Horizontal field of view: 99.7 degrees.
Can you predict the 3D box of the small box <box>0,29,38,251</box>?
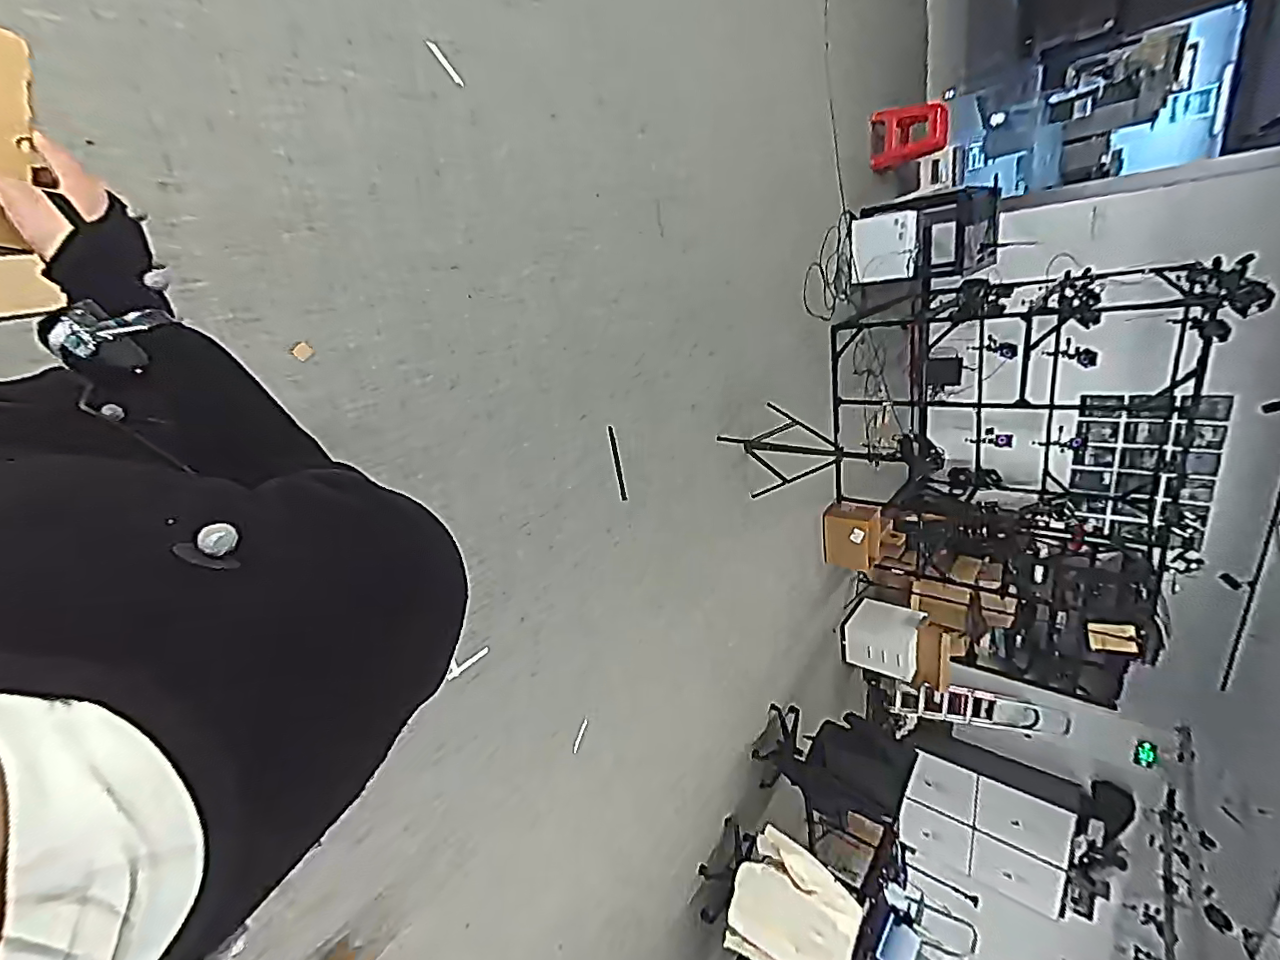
[{"bbox_3d":[-0.606,-0.278,0.404,0.179,0.176,0.168,-8,108,-61],"label":"small box"}]
